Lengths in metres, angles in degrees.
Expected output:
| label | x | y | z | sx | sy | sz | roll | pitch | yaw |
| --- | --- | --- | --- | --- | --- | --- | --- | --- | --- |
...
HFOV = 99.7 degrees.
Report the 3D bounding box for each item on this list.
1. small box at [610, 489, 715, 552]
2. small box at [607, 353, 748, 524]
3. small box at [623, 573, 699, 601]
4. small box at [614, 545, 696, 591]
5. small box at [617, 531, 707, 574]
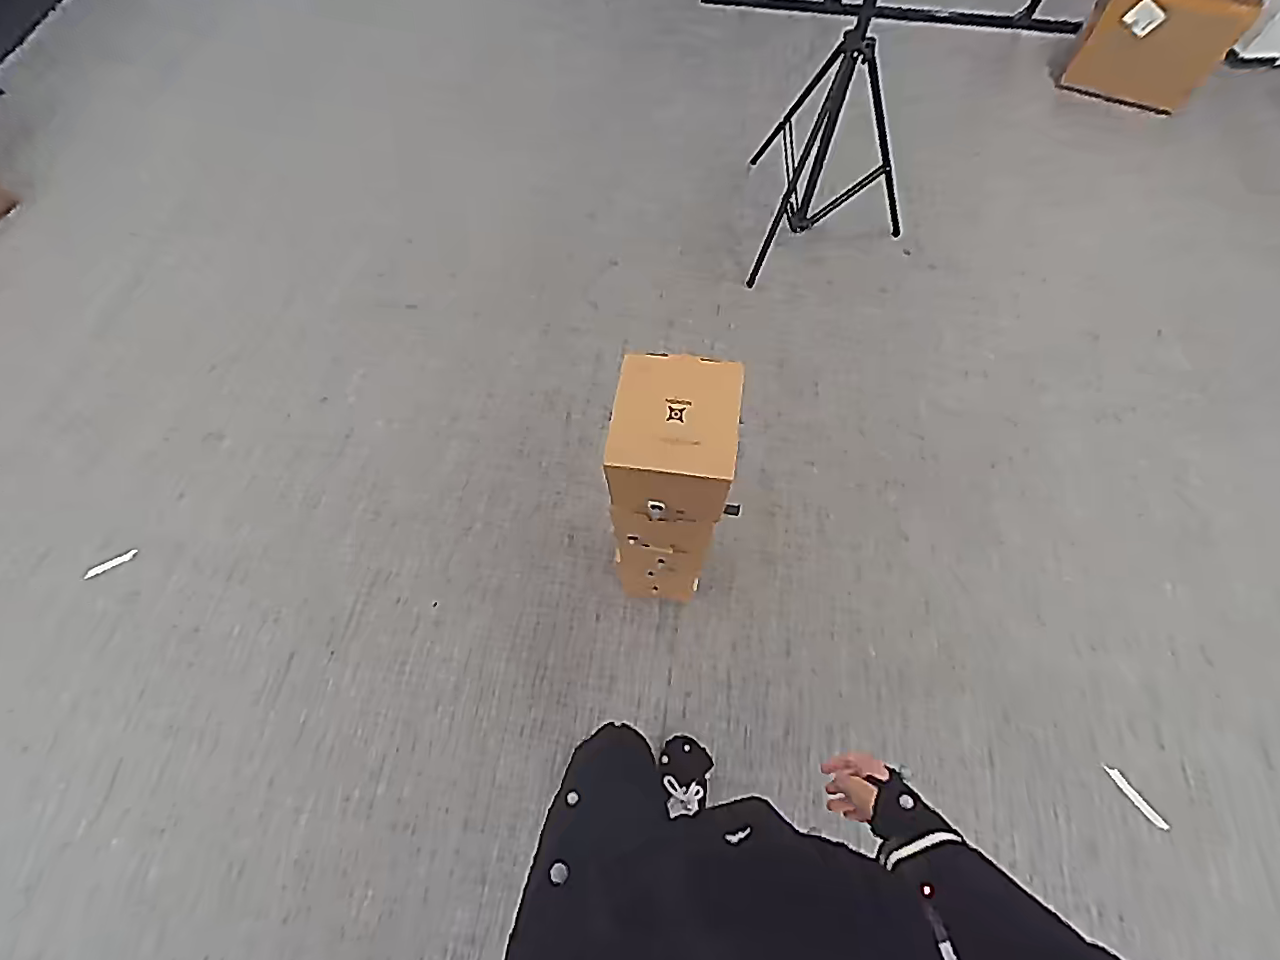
| label | x | y | z | sx | sy | sz | roll | pitch | yaw |
| --- | --- | --- | --- | --- | --- | --- | --- | --- | --- |
| small box | 0.052 | 0.011 | 0.915 | 0.168 | 0.176 | 0.179 | 9 | 67 | 5 |
| small box | 0.052 | -0.053 | 0.766 | 0.168 | 0.176 | 0.179 | 7 | 68 | 5 |
| small box | 0.059 | 0.204 | 1.367 | 0.179 | 0.176 | 0.168 | 8 | 68 | 4 |
| small box | 0.049 | 0.142 | 1.215 | 0.179 | 0.176 | 0.168 | 11 | 68 | 6 |
| small box | 0.057 | 0.077 | 1.066 | 0.168 | 0.176 | 0.179 | 10 | 68 | 5 |
